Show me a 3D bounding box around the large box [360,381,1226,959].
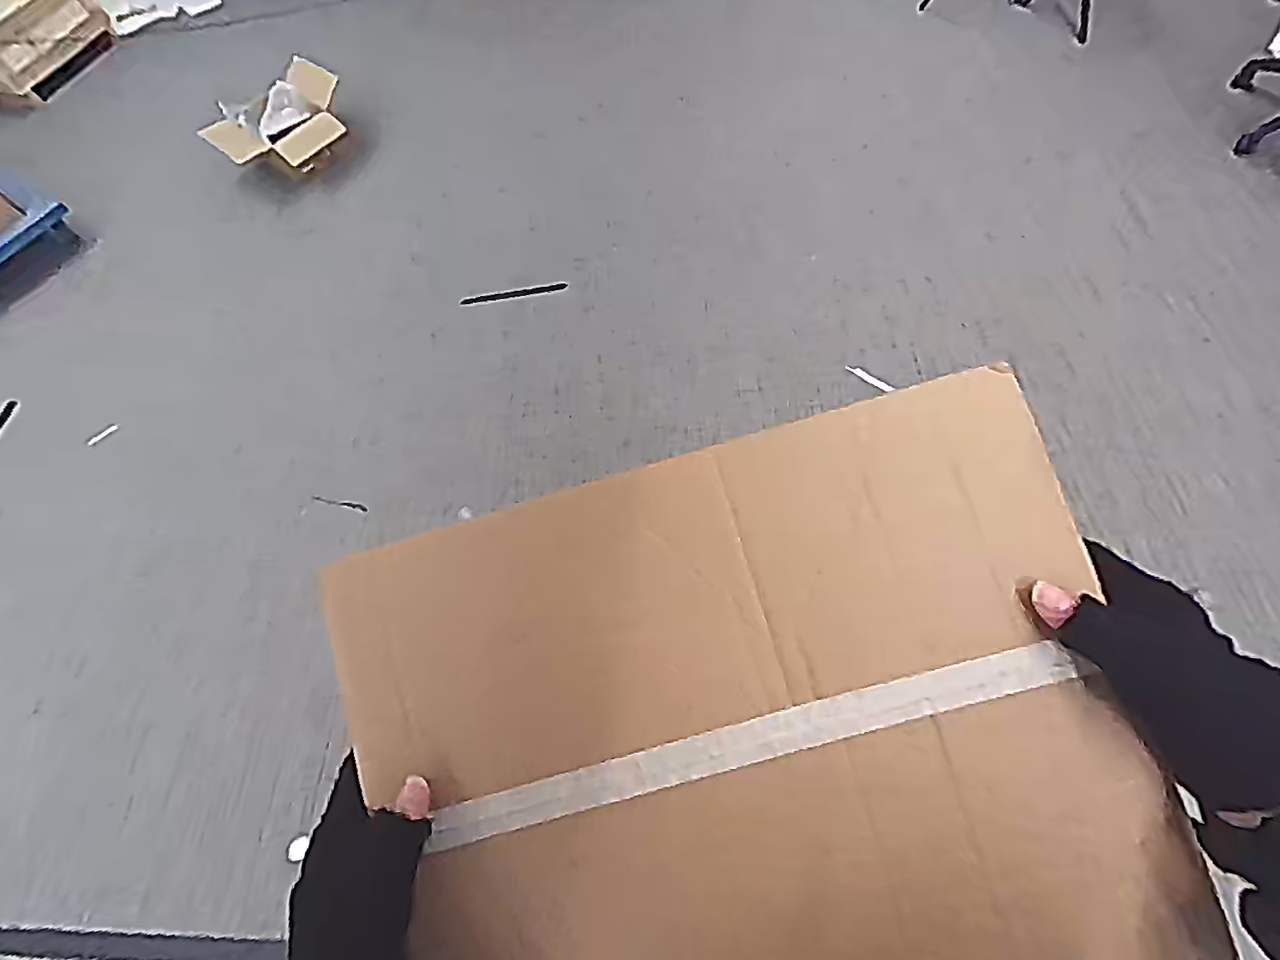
[{"bbox_3d":[0.072,0.161,0.443,0.408,0.320,0.320,-16,84,4],"label":"large box"}]
